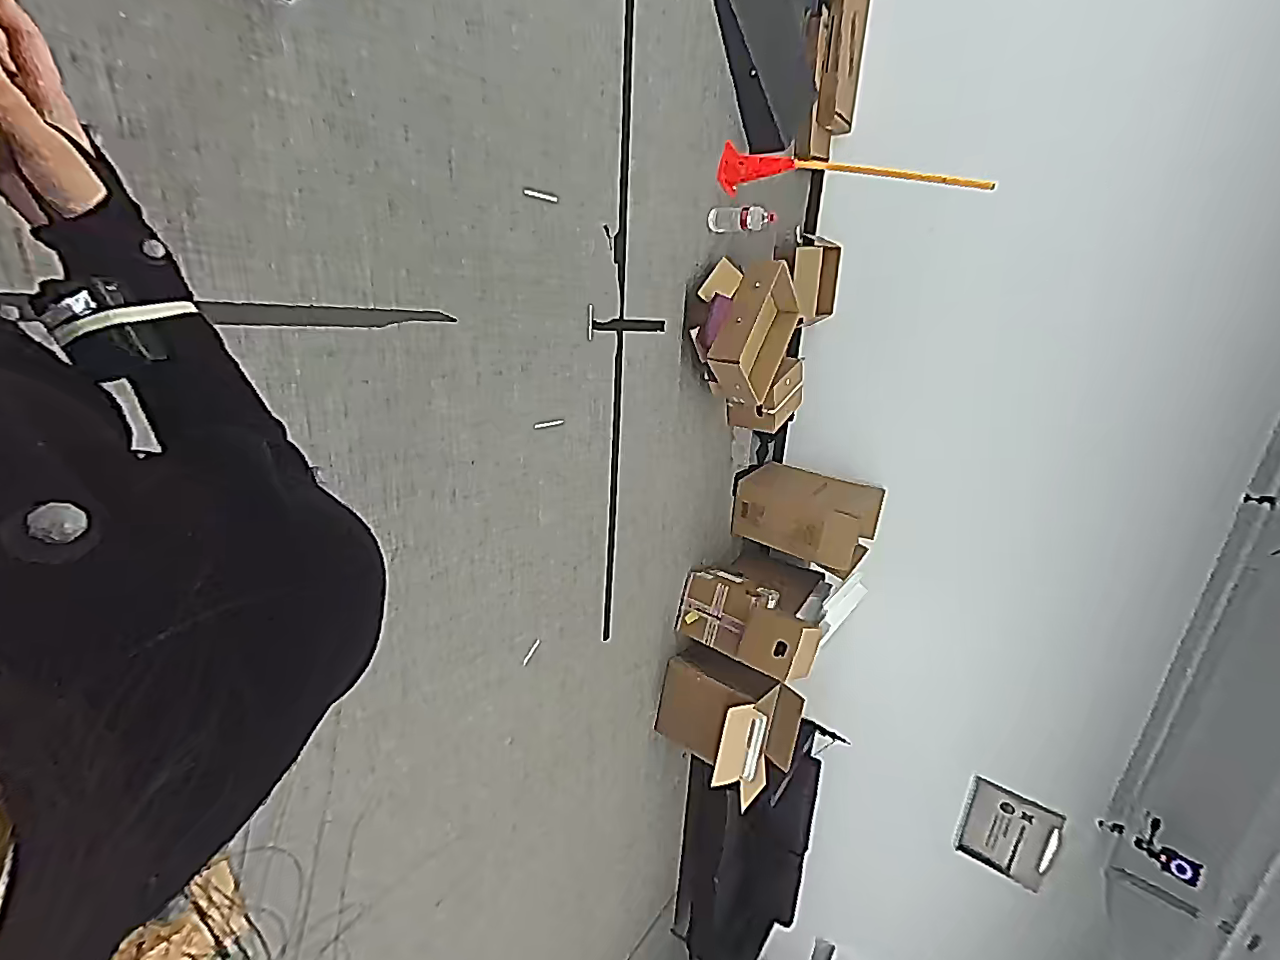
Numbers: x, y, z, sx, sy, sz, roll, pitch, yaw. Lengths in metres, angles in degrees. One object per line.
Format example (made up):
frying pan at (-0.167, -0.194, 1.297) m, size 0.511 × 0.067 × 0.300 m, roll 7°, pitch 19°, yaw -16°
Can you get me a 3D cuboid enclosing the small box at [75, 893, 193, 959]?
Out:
small box at (-1.210, 1.161, 1.296) m, size 0.179 × 0.176 × 0.168 m, roll -19°, pitch 118°, yaw -52°
